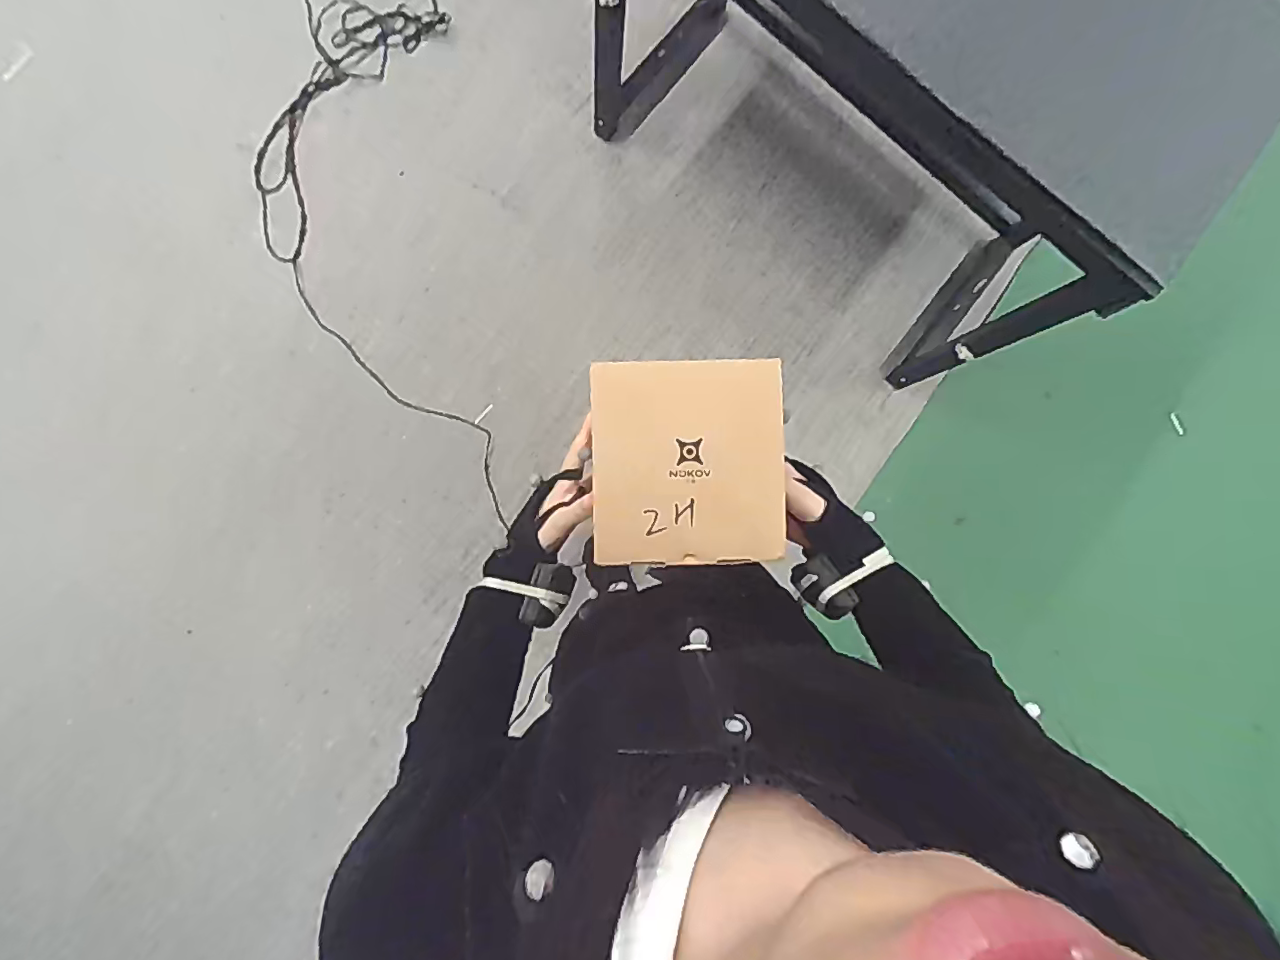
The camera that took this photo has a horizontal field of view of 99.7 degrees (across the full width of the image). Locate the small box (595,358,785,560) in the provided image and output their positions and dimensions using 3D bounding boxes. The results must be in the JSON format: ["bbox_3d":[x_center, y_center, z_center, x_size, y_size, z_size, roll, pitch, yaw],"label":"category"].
[{"bbox_3d":[0.040,-0.016,0.544,0.168,0.176,0.179,-1,89,-1],"label":"small box"}]
